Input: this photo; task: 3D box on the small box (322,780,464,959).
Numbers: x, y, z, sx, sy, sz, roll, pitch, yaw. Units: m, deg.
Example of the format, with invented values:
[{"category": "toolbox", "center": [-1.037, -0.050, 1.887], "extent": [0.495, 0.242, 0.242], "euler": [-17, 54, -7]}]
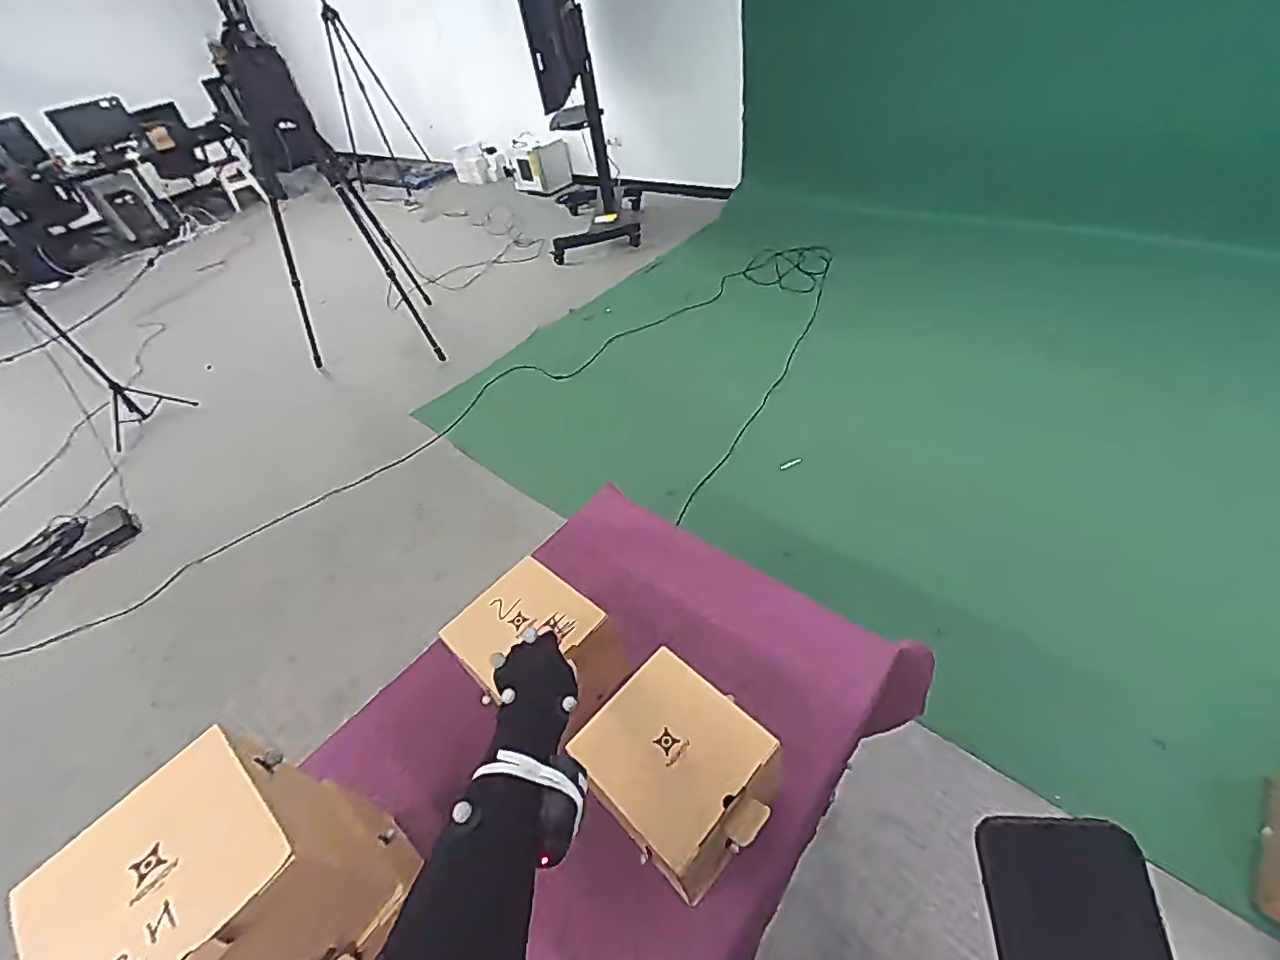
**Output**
[{"category": "small box", "center": [-0.328, 0.480, 0.596], "extent": [0.179, 0.176, 0.168], "euler": [25, 55, 33]}]

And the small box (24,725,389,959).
[{"category": "small box", "center": [-0.368, 0.367, 0.482], "extent": [0.179, 0.176, 0.168], "euler": [25, 55, 32]}]

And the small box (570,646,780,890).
[{"category": "small box", "center": [0.046, 0.344, 0.648], "extent": [0.179, 0.176, 0.168], "euler": [31, 59, 35]}]
